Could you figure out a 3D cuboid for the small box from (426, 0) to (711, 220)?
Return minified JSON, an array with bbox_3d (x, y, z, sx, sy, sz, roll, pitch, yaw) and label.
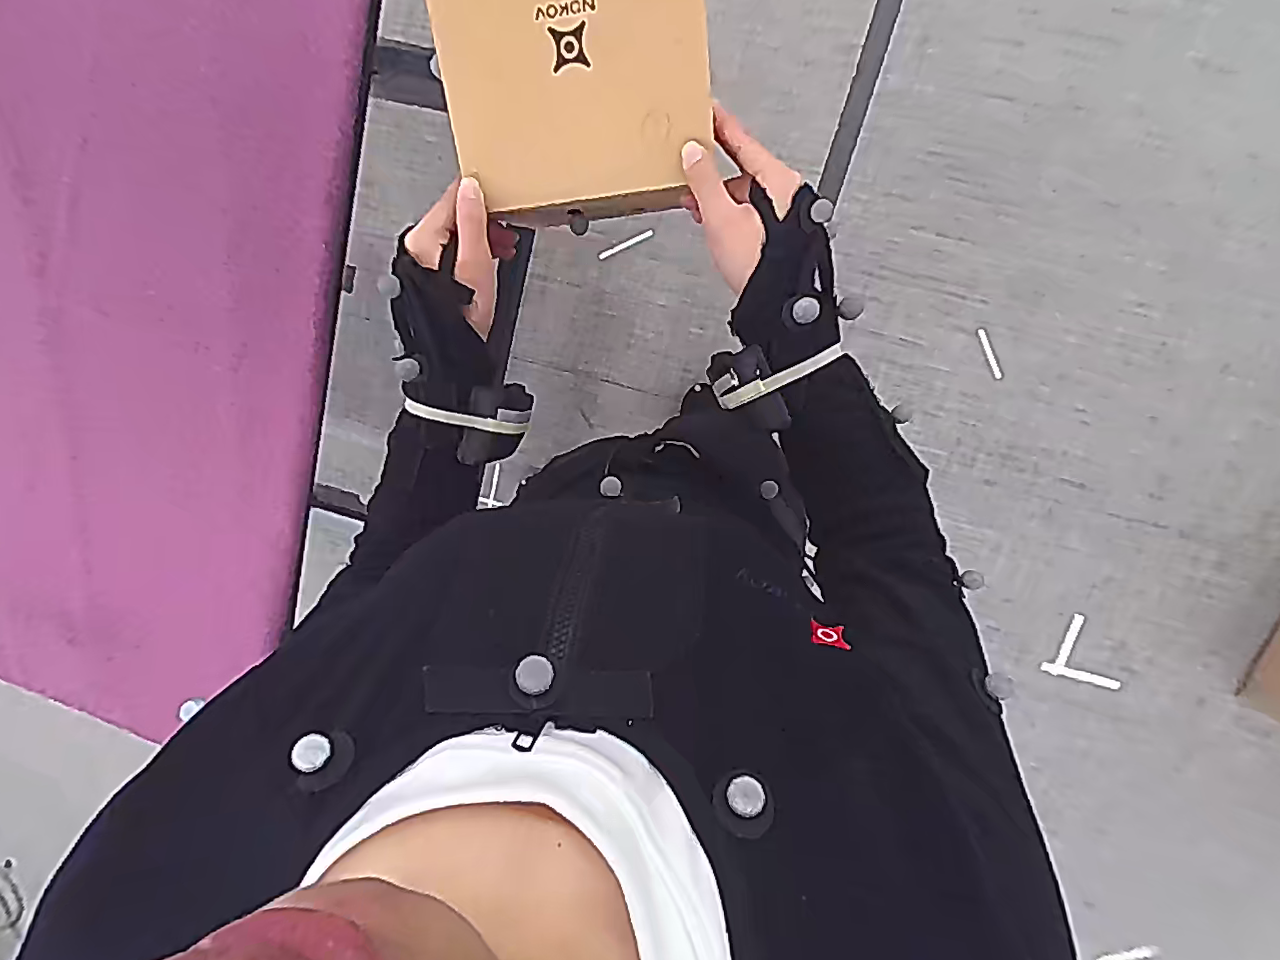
[{"bbox_3d":[-0.036,-0.295,0.393,0.168,0.176,0.179,-5,110,7],"label":"small box"}]
